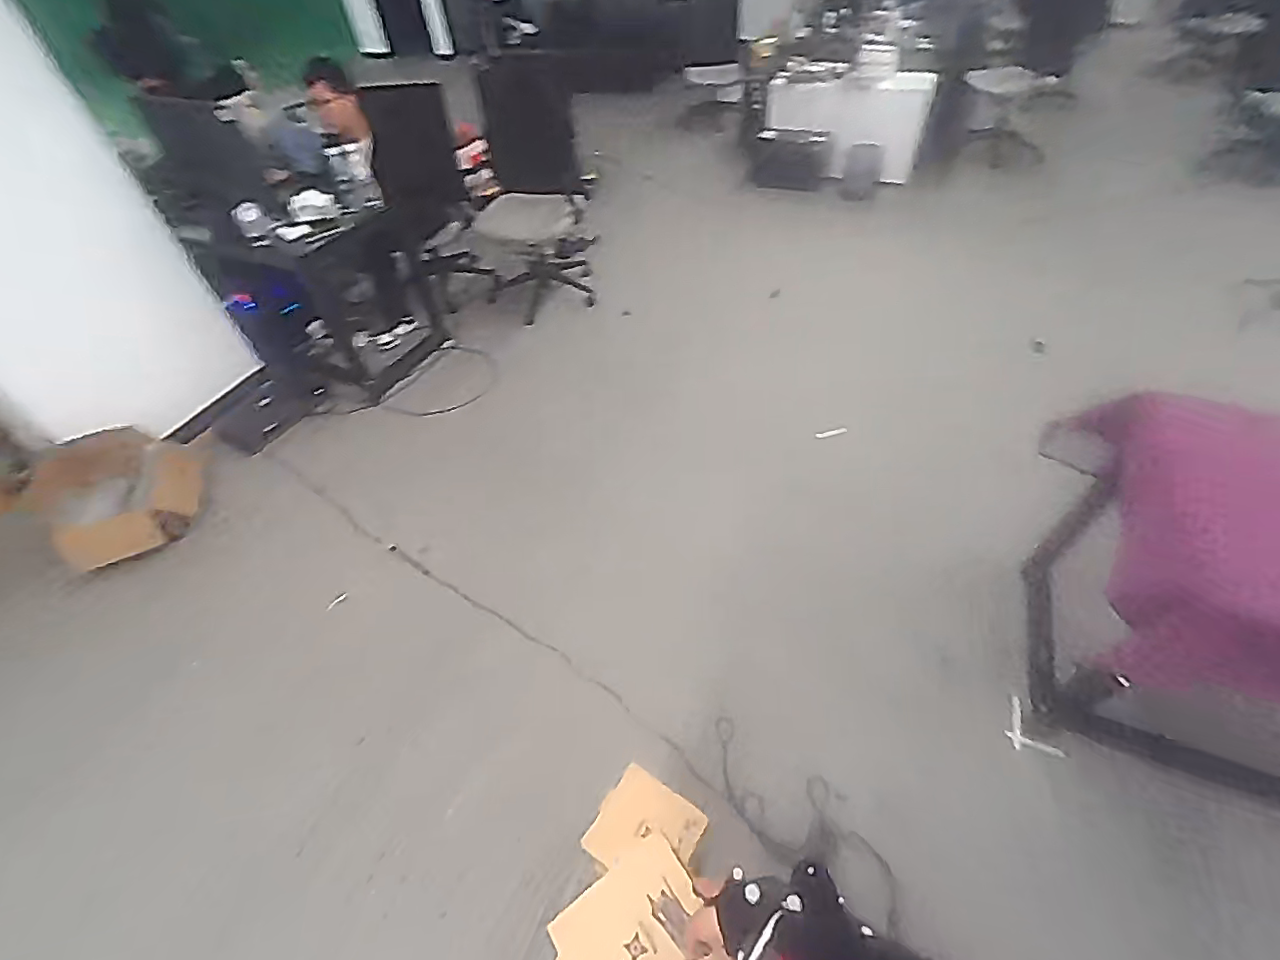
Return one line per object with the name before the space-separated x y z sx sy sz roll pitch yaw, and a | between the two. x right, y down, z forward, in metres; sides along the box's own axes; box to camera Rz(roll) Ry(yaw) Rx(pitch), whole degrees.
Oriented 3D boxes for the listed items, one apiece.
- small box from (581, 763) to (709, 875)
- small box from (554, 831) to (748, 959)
small box | 0.015 0.681 1.022 0.179 0.176 0.168 24 55 26
small box | 0.020 0.595 0.694 0.179 0.176 0.168 -33 52 -16
